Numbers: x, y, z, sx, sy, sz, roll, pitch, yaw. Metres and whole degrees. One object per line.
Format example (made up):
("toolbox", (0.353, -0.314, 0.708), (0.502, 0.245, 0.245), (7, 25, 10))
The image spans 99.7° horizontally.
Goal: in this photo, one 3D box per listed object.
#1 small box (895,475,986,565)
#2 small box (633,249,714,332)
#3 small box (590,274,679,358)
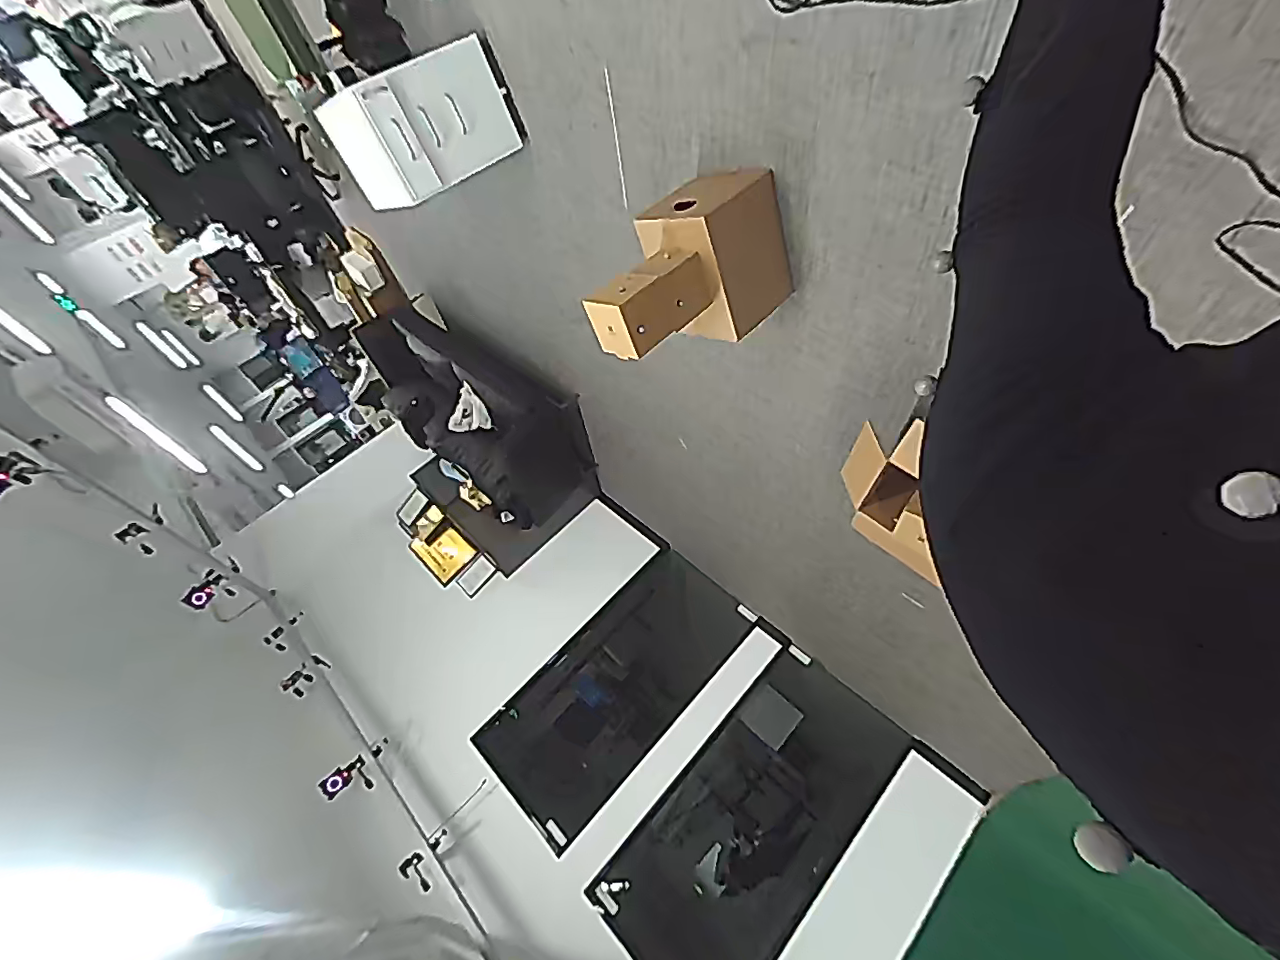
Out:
("small box", (0.911, 0.120, 1.639), (0.168, 0.176, 0.179), (33, 155, 29))
("small box", (0.104, -0.583, 1.659), (0.168, 0.176, 0.179), (25, 149, 44))
("small box", (-0.012, -0.489, 1.593), (0.168, 0.176, 0.179), (25, 150, 43))
